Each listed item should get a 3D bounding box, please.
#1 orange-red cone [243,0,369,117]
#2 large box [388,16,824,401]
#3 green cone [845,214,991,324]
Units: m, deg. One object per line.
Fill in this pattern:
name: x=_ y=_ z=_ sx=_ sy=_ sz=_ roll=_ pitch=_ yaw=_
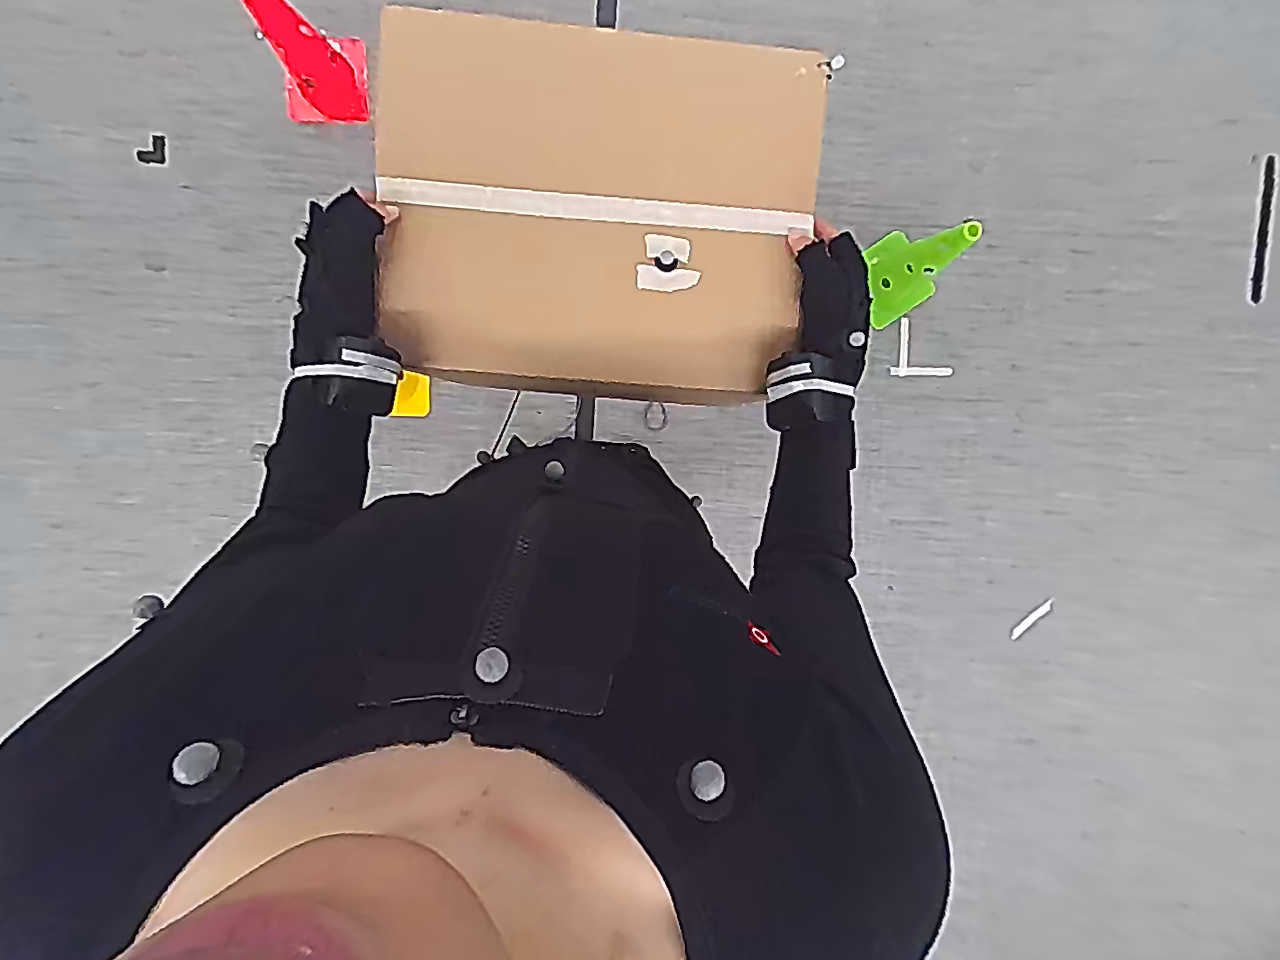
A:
orange-red cone: x=-0.778 y=-0.998 z=1.188 sx=0.198 sy=0.360 sz=0.199 roll=0 pitch=96 yaw=-1
large box: x=-0.042 y=-0.269 z=0.657 sx=0.408 sy=0.320 sz=0.320 roll=4 pitch=96 yaw=-3
green cone: x=0.684 y=-0.533 z=1.281 sx=0.202 sy=0.368 sz=0.200 roll=-35 pitch=96 yaw=0
